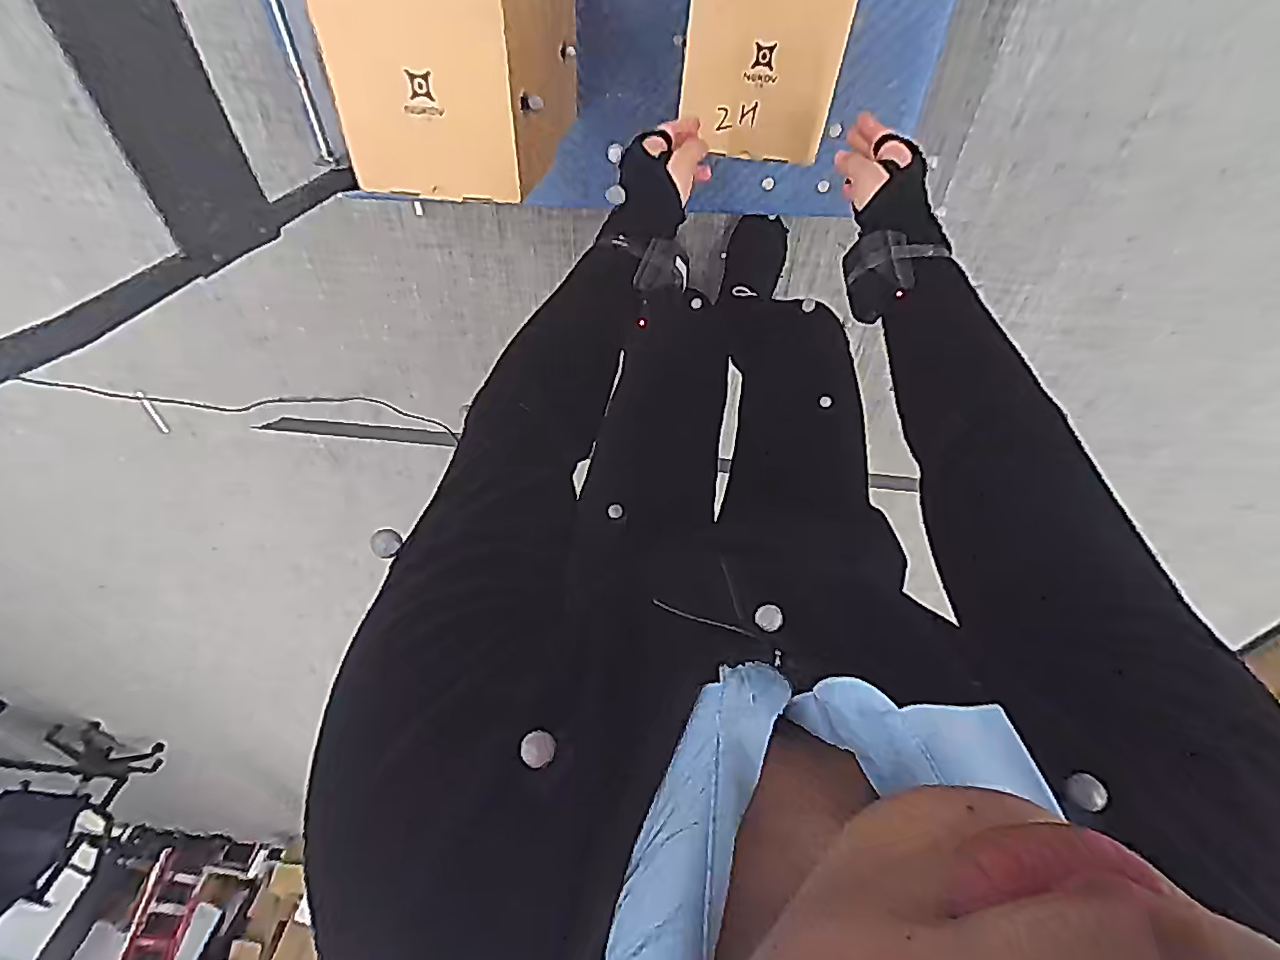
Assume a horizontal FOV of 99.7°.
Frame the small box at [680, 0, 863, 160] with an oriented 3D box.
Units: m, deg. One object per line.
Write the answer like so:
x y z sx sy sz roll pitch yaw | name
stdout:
0.140 -0.497 0.625 0.168 0.176 0.179 7 133 1 | small box

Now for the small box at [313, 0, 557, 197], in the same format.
-0.180 -0.402 0.529 0.168 0.176 0.179 5 135 2 | small box
